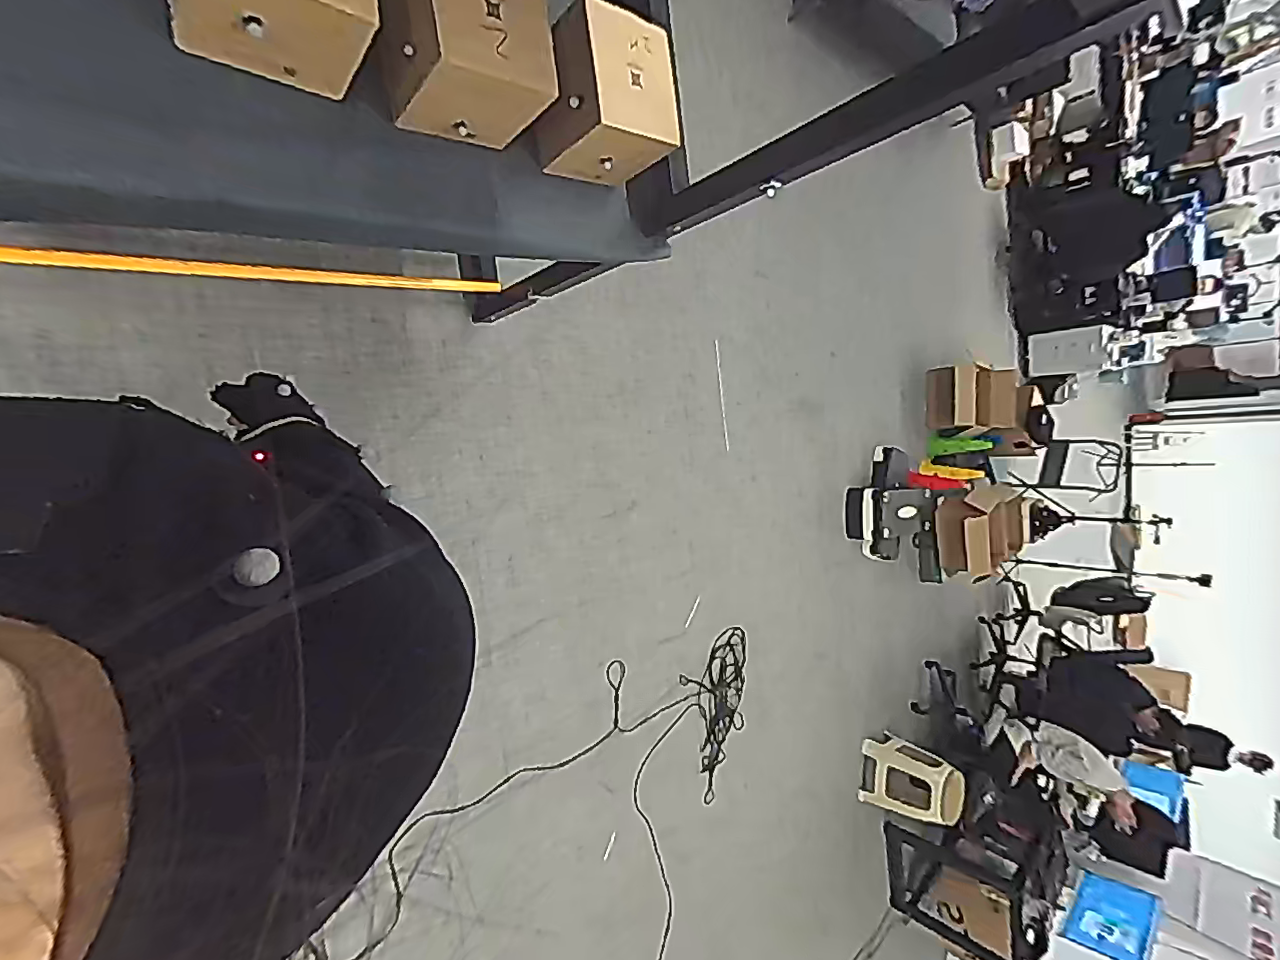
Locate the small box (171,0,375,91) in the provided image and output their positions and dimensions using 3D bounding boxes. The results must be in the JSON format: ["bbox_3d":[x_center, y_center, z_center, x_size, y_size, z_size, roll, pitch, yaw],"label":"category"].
[{"bbox_3d":[-0.401,-0.569,0.580,0.168,0.176,0.179,-8,96,-41],"label":"small box"}]

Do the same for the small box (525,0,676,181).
[{"bbox_3d":[-0.065,-0.613,0.873,0.168,0.176,0.179,-15,101,-41],"label":"small box"}]
